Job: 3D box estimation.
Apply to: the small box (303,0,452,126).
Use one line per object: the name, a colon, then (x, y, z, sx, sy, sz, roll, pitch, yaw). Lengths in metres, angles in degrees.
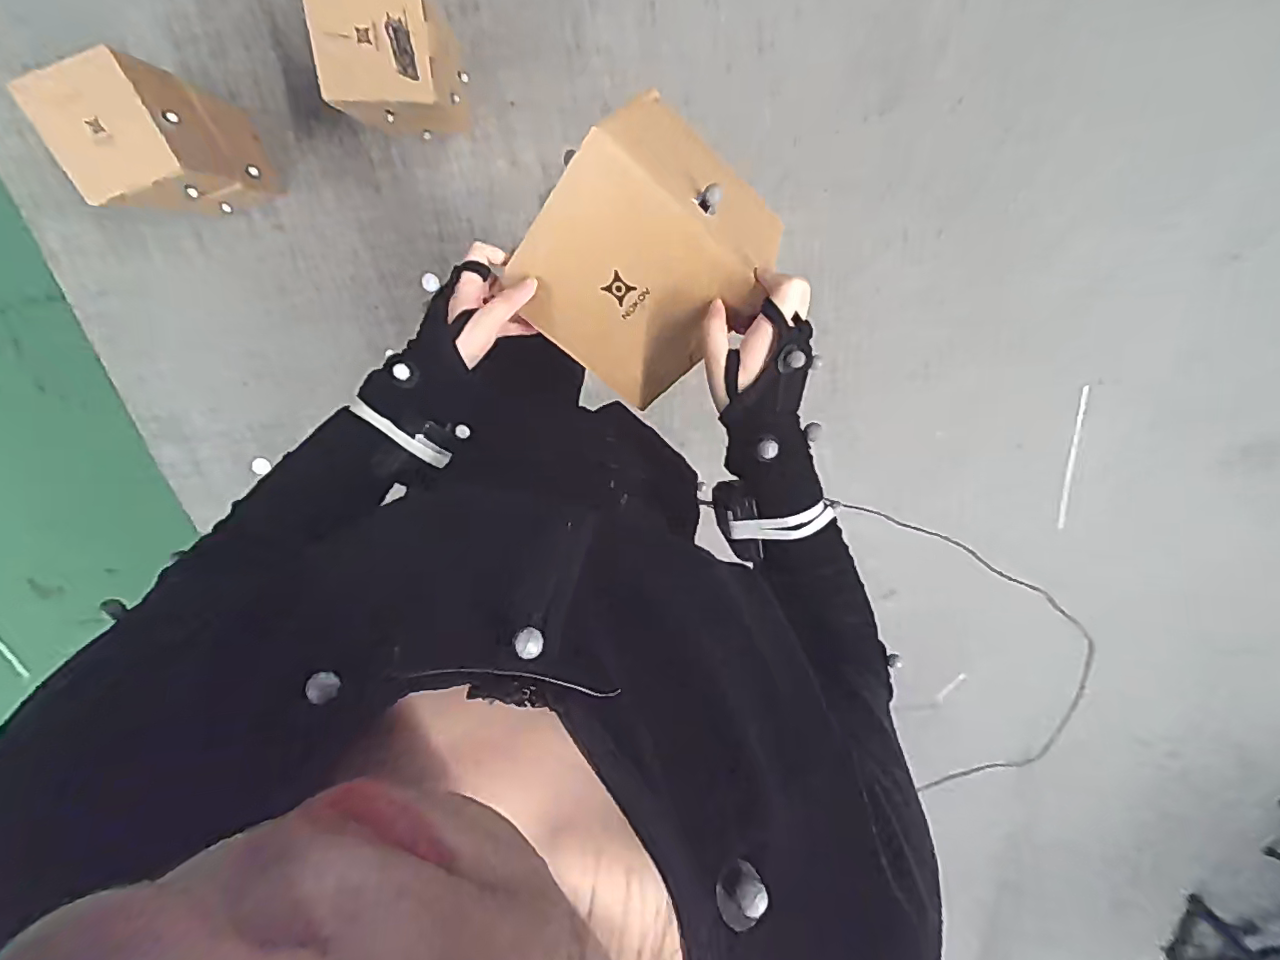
small box: (-0.421, -0.703, 0.898, 0.179, 0.176, 0.168, -2, 114, -5)

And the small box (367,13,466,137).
small box: (-0.441, -0.776, 1.046, 0.179, 0.176, 0.168, -4, 113, -6)

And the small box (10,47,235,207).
small box: (-0.839, -0.571, 0.904, 0.168, 0.176, 0.179, -19, 114, 1)

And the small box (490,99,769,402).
small box: (0.000, -0.214, 0.502, 0.179, 0.176, 0.168, 37, 132, -17)
